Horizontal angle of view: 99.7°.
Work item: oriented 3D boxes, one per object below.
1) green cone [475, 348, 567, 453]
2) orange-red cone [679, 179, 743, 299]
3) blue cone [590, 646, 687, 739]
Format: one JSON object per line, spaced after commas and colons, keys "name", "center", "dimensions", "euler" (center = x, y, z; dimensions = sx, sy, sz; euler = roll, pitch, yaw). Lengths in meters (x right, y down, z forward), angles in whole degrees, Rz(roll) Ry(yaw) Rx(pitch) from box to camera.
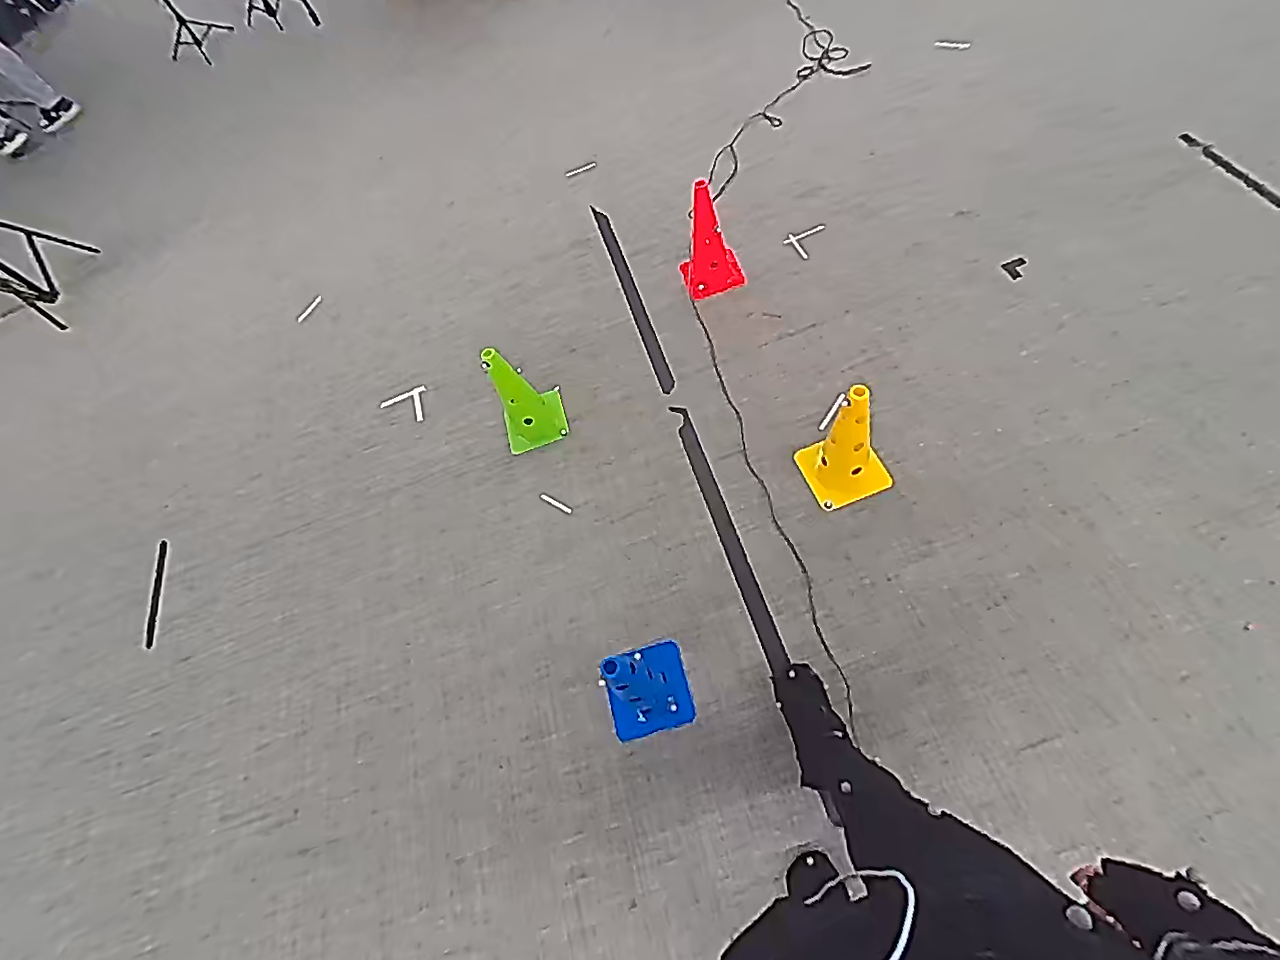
{"name": "green cone", "center": [-0.388, -0.274, 1.634], "dimensions": [0.202, 0.368, 0.200], "euler": [-21, 60, 4]}
{"name": "orange-red cone", "center": [0.213, -0.808, 1.765], "dimensions": [0.199, 0.360, 0.198], "euler": [-16, 62, 4]}
{"name": "blue cone", "center": [-0.027, 0.445, 1.189], "dimensions": [0.192, 0.380, 0.193], "euler": [-18, 60, 6]}
